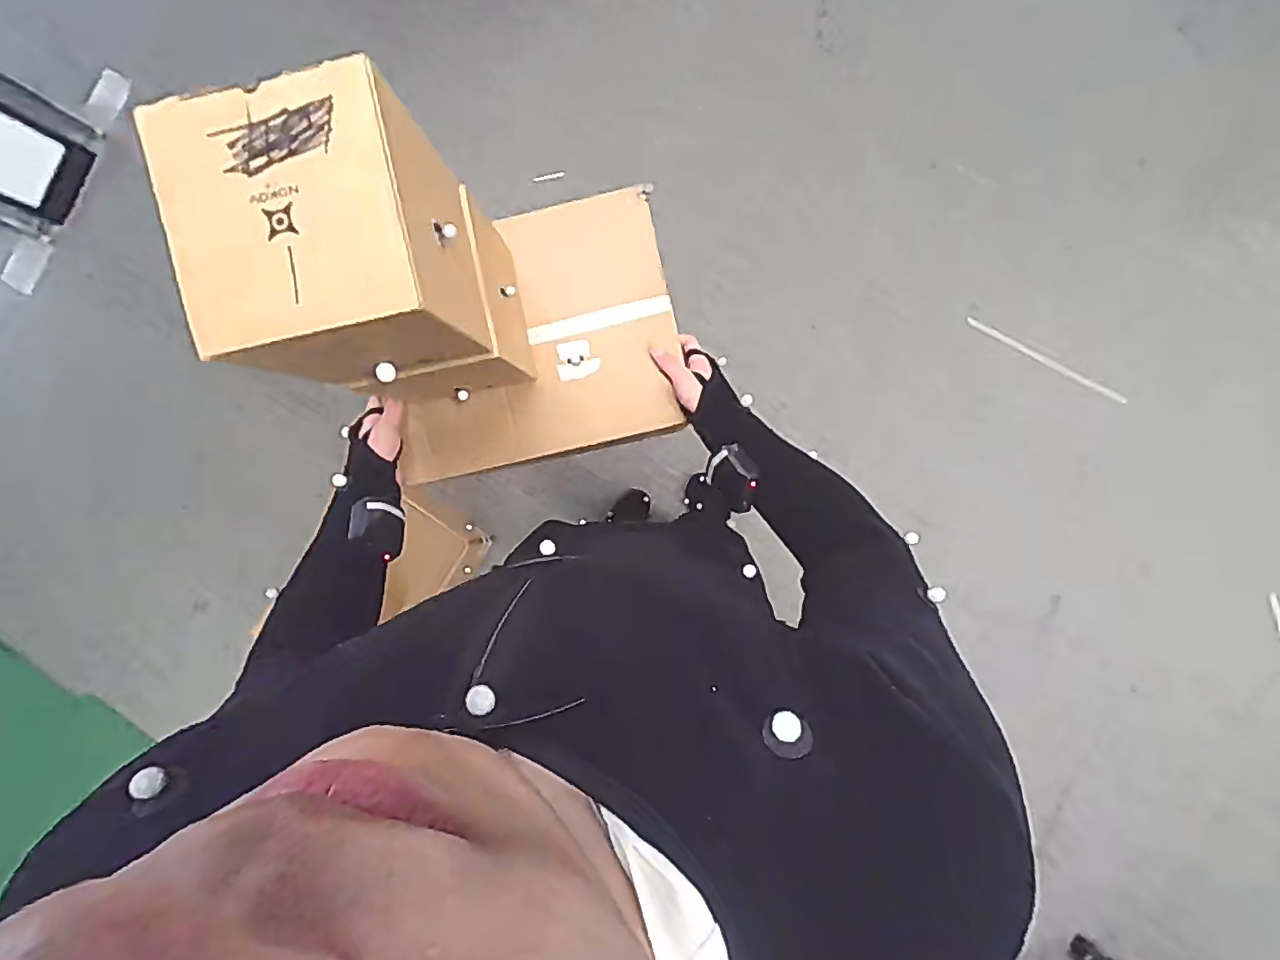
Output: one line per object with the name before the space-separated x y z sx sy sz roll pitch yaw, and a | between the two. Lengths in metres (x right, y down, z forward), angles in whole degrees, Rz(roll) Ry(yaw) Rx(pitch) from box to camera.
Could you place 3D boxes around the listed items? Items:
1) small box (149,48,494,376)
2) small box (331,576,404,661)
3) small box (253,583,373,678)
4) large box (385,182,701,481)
small box | -0.236 -0.196 0.449 0.168 0.176 0.179 -11 93 3
small box | -0.853 0.404 1.618 0.179 0.176 0.168 37 90 4
small box | -0.871 0.394 1.456 0.179 0.176 0.168 40 92 5
large box | -0.143 -0.198 0.855 0.408 0.320 0.320 -13 94 2
